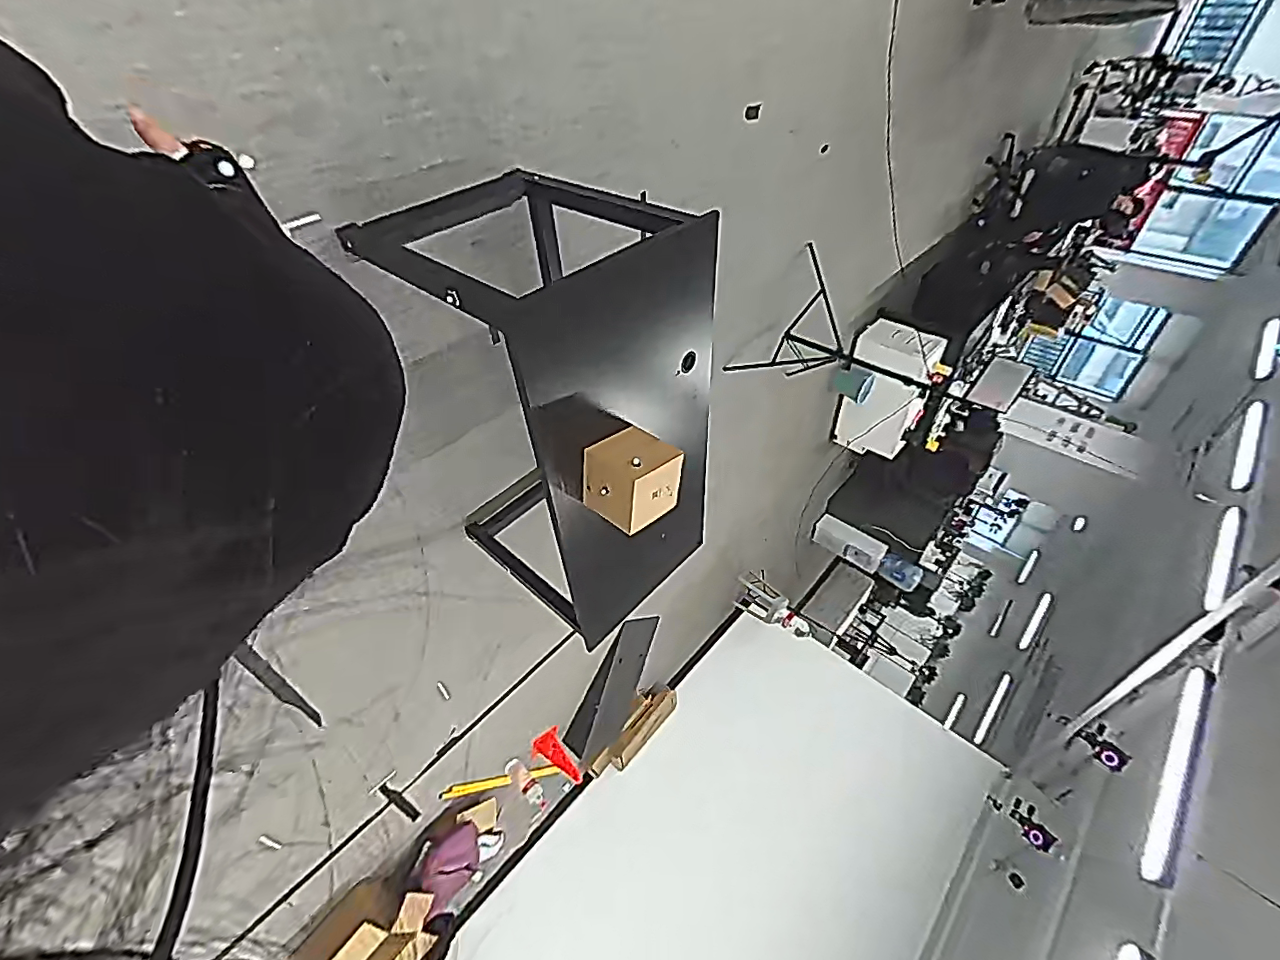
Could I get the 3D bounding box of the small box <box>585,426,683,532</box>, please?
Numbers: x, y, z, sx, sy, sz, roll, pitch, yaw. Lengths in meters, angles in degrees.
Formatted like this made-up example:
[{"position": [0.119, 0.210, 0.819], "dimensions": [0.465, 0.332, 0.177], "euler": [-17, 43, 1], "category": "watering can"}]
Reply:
[{"position": [-0.021, -0.009, 1.326], "dimensions": [0.179, 0.176, 0.168], "euler": [-31, 140, -39], "category": "small box"}]
